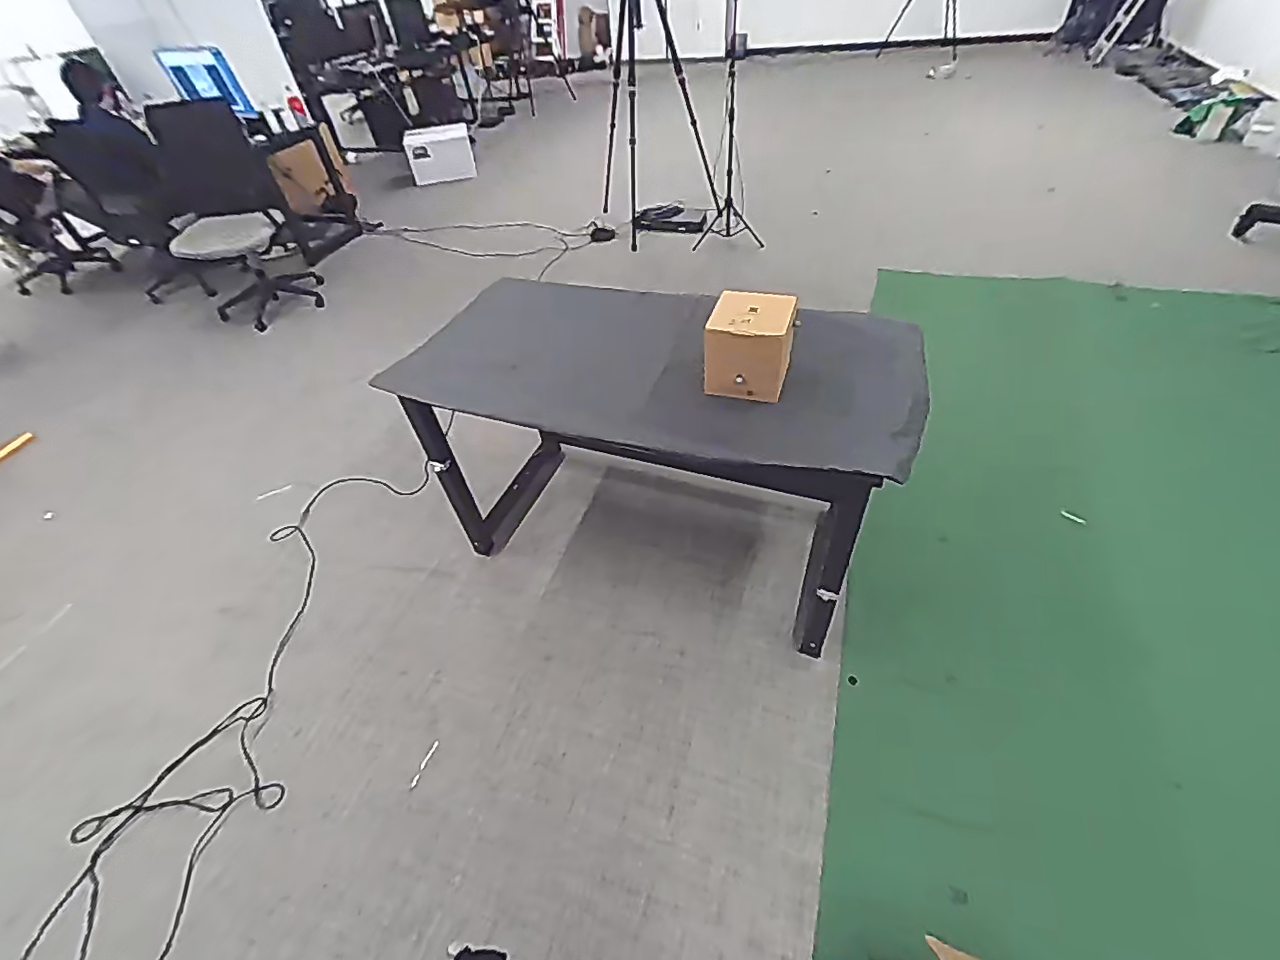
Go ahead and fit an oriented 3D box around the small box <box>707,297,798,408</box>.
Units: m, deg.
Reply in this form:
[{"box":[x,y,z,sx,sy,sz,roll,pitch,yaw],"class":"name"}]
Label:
[{"box":[0.248,-0.288,1.213,0.168,0.176,0.179,11,47,18],"class":"small box"}]
